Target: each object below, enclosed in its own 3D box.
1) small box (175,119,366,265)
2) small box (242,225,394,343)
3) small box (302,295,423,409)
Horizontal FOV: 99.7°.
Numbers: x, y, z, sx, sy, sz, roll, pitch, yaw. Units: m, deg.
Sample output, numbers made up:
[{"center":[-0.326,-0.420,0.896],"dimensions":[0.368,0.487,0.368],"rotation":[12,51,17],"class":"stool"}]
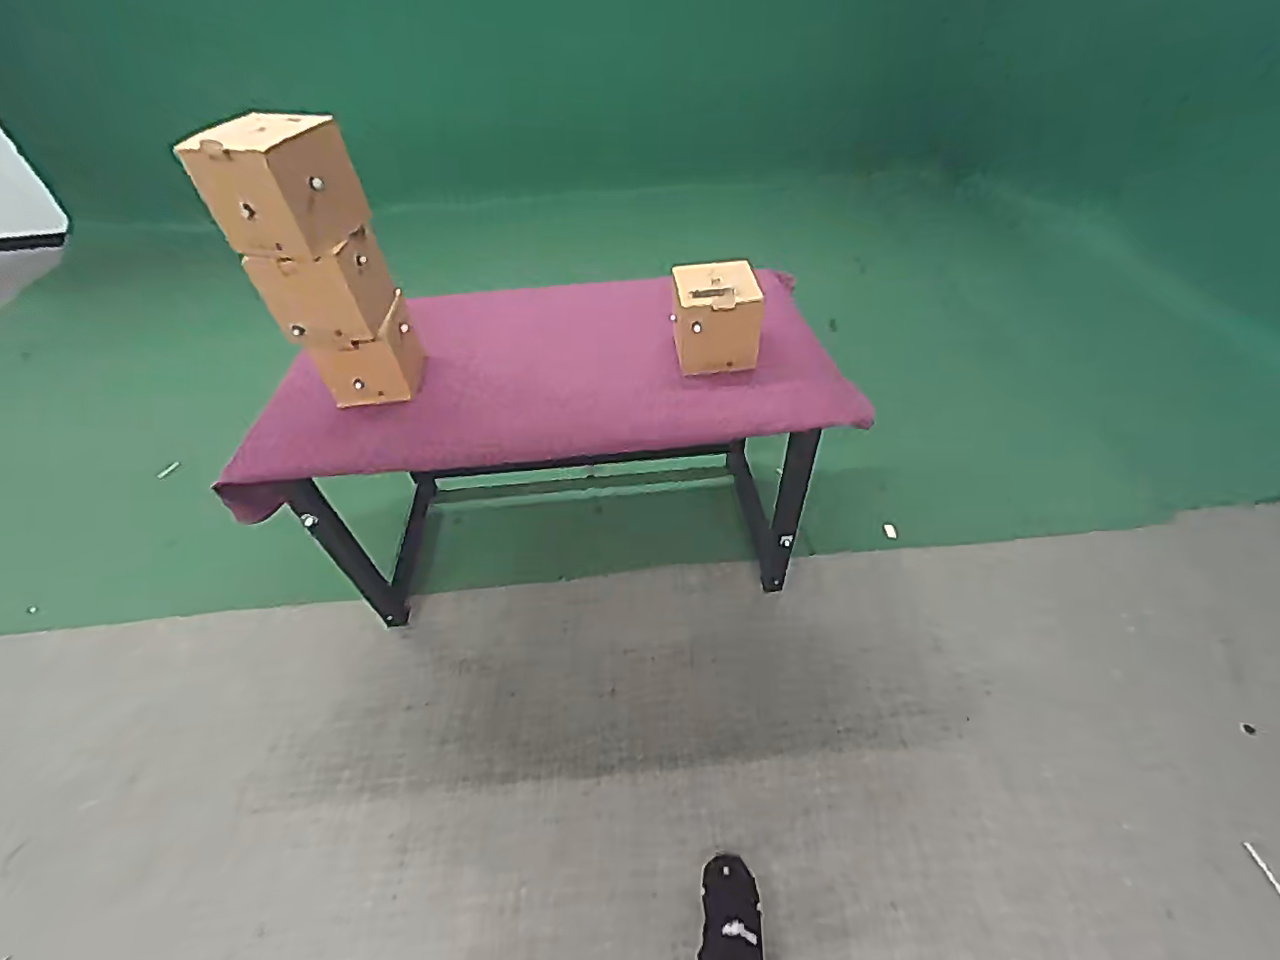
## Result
[{"center":[-0.605,-0.487,0.917],"dimensions":[0.168,0.176,0.179],"rotation":[11,51,11],"class":"small box"},{"center":[-0.599,-0.375,1.037],"dimensions":[0.168,0.176,0.179],"rotation":[-3,47,0],"class":"small box"},{"center":[-0.585,-0.277,1.169],"dimensions":[0.168,0.176,0.179],"rotation":[-6,48,-3],"class":"small box"}]
